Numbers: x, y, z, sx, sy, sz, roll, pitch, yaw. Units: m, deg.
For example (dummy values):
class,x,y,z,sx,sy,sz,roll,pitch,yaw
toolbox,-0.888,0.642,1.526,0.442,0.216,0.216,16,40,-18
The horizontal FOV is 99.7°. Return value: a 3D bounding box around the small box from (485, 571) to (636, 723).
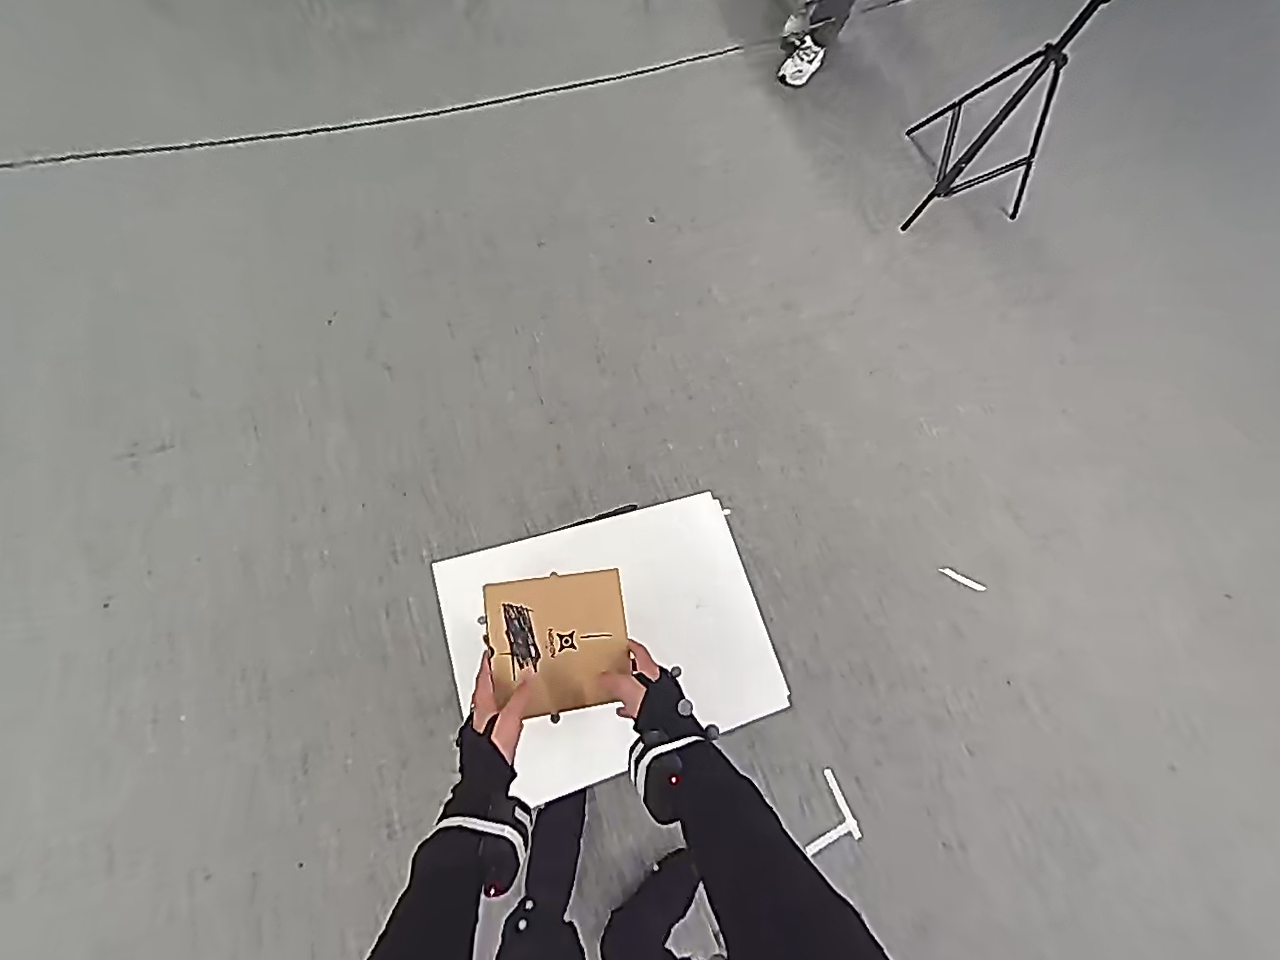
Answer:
class,x,y,z,sx,sy,sz,roll,pitch,yaw
small box,-0.115,0.227,0.744,0.179,0.176,0.168,-4,73,-16
